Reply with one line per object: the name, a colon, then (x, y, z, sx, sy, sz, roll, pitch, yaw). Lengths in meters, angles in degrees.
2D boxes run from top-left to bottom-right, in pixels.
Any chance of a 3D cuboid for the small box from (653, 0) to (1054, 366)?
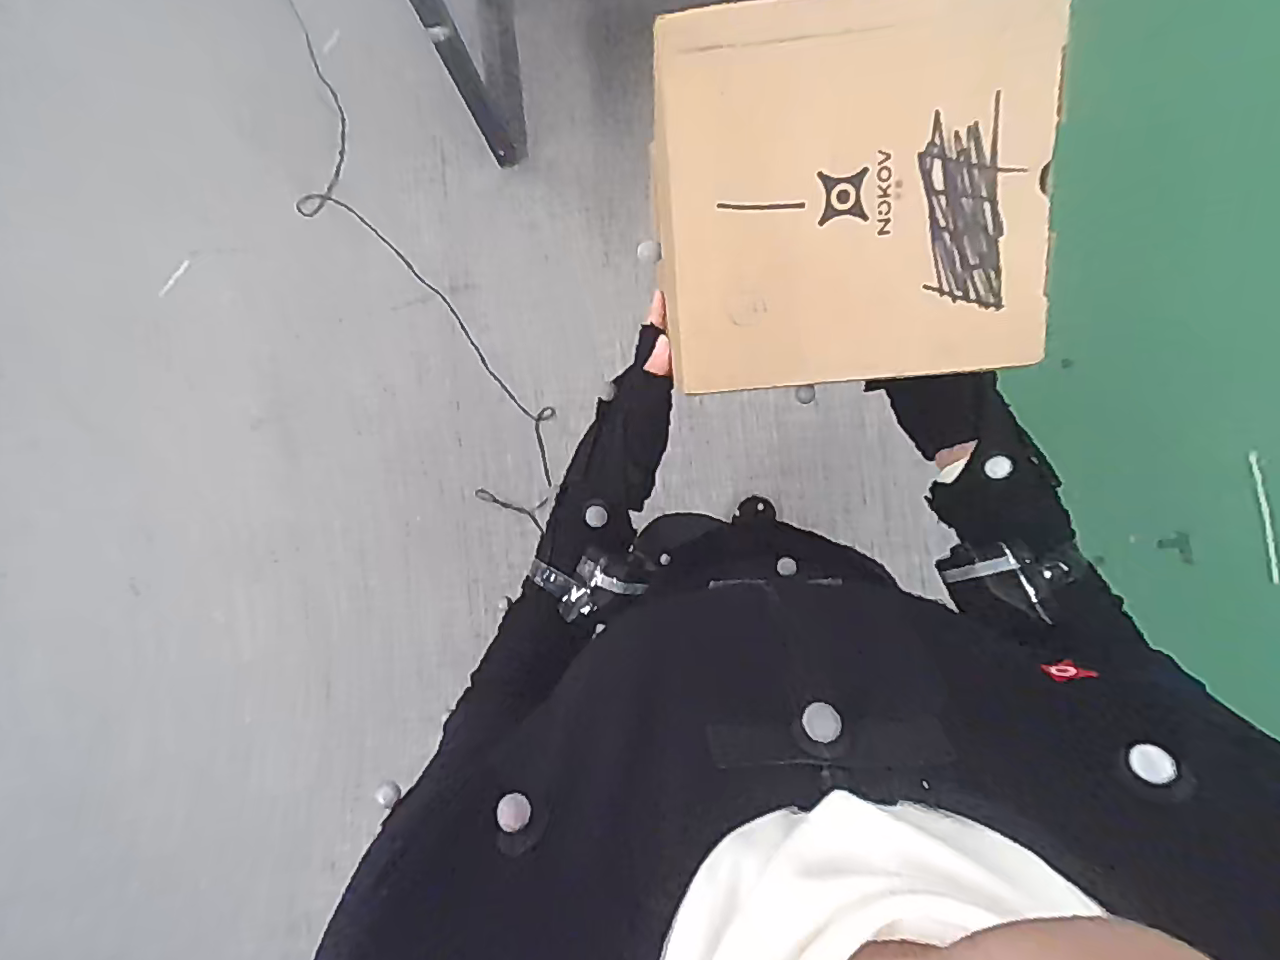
small box: (0.100, -0.162, 0.329, 0.179, 0.176, 0.168, -5, 103, 4)
